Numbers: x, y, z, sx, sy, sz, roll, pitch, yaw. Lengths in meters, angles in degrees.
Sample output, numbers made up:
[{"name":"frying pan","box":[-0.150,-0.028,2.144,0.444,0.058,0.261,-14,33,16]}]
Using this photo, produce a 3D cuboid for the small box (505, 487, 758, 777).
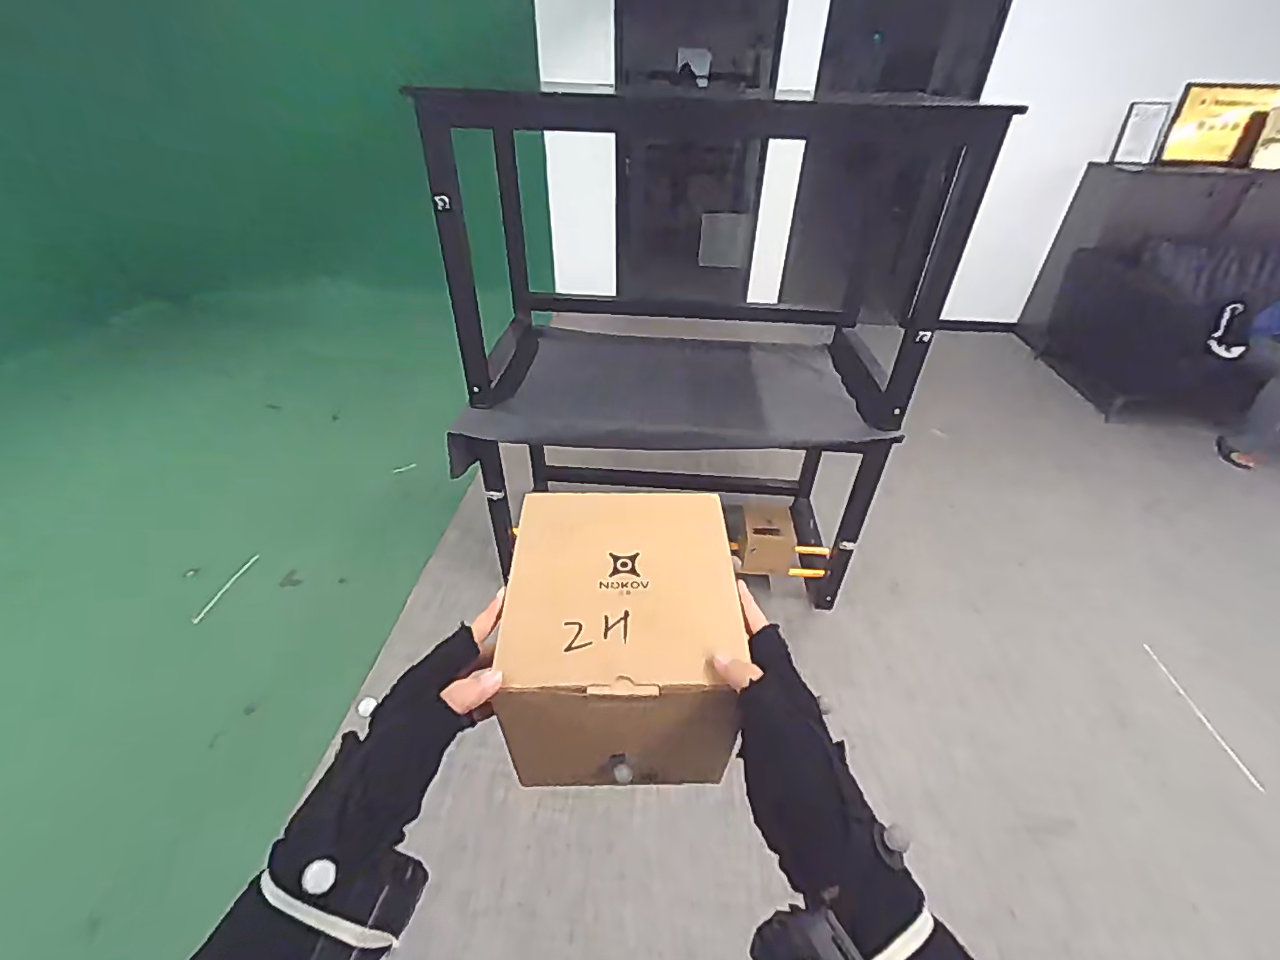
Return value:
[{"name":"small box","box":[-0.008,0.125,0.457,0.168,0.176,0.179,0,41,-1]}]
